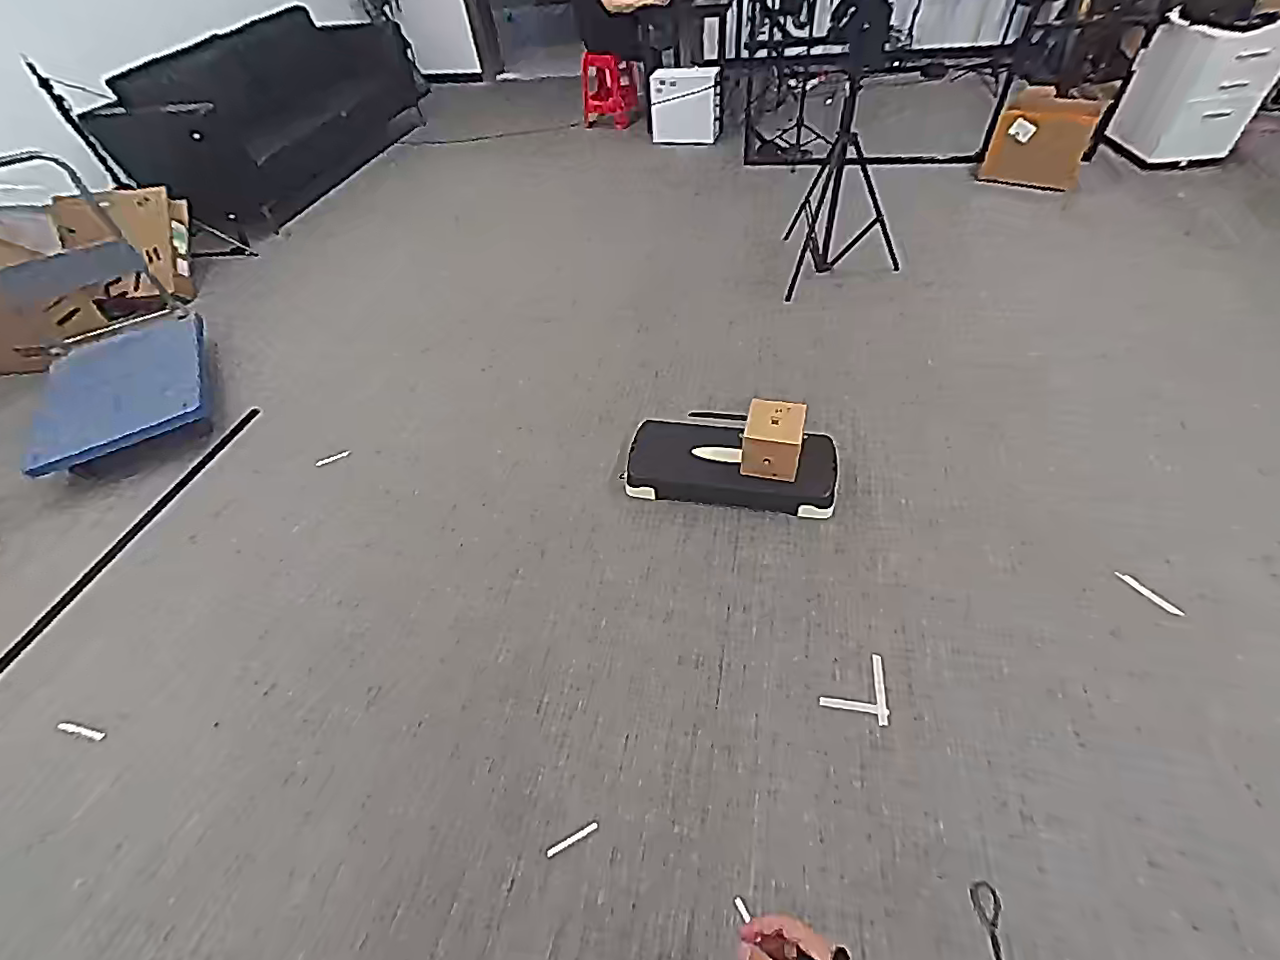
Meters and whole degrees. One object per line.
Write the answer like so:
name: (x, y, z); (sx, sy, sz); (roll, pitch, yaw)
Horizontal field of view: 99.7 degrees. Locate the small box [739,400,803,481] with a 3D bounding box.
small box: (0.400, -0.119, 1.661); (0.168, 0.176, 0.179); (10, 51, 14)
